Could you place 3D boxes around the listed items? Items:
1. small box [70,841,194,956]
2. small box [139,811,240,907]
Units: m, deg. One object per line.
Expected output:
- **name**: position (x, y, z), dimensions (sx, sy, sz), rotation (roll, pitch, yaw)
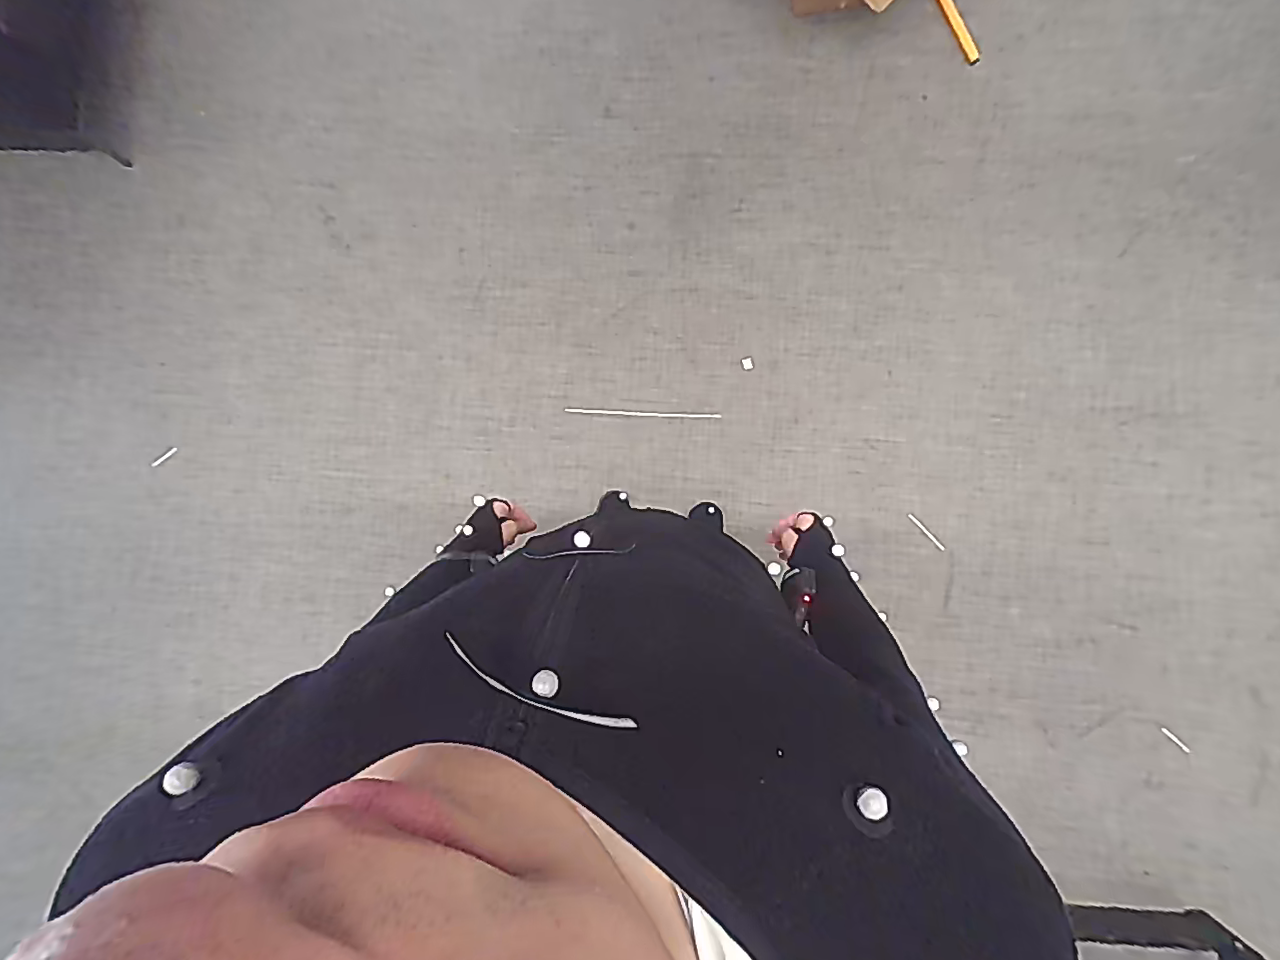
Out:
- **small box**: position (-1.330, 1.093, 1.428), dimensions (0.168, 0.176, 0.179), rotation (3, 88, 4)
- **small box**: position (-1.327, 1.106, 1.590), dimensions (0.179, 0.176, 0.168), rotation (5, 86, 3)
